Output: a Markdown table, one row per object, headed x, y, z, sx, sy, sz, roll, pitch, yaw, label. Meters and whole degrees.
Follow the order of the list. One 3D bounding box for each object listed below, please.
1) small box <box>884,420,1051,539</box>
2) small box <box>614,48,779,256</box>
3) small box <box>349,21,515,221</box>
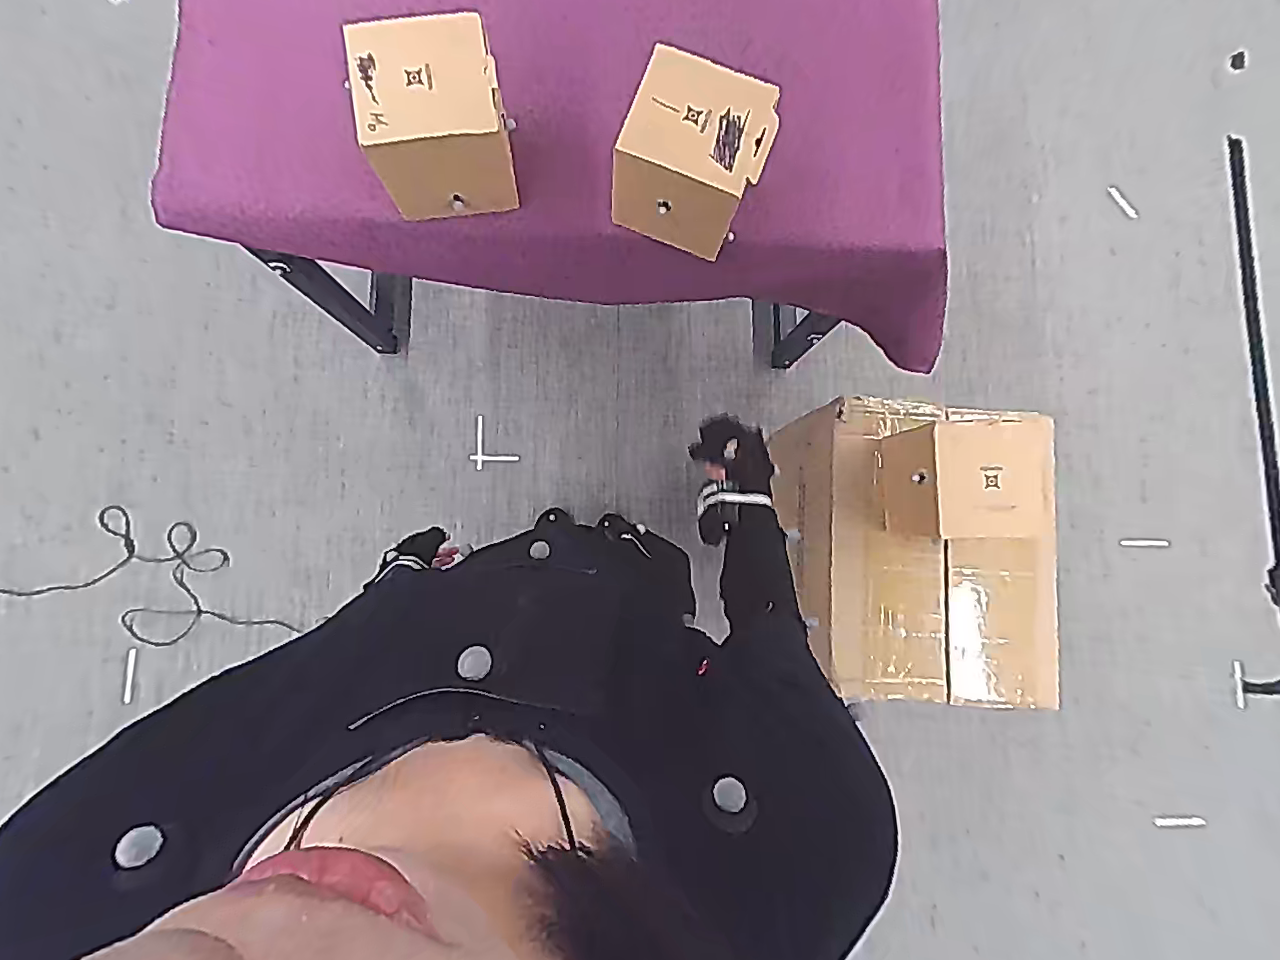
| x | y | z | sx | sy | sz | roll | pitch | yaw | label |
| --- | --- | --- | --- | --- | --- | --- | --- | --- | --- |
| 0.512 | 0.005 | 0.870 | 0.168 | 0.176 | 0.179 | -1 | 86 | -1 | small box |
| 0.071 | -0.456 | 0.782 | 0.179 | 0.176 | 0.168 | 21 | 82 | -1 | small box |
| -0.278 | -0.493 | 0.762 | 0.179 | 0.176 | 0.168 | -9 | 84 | -6 | small box |
